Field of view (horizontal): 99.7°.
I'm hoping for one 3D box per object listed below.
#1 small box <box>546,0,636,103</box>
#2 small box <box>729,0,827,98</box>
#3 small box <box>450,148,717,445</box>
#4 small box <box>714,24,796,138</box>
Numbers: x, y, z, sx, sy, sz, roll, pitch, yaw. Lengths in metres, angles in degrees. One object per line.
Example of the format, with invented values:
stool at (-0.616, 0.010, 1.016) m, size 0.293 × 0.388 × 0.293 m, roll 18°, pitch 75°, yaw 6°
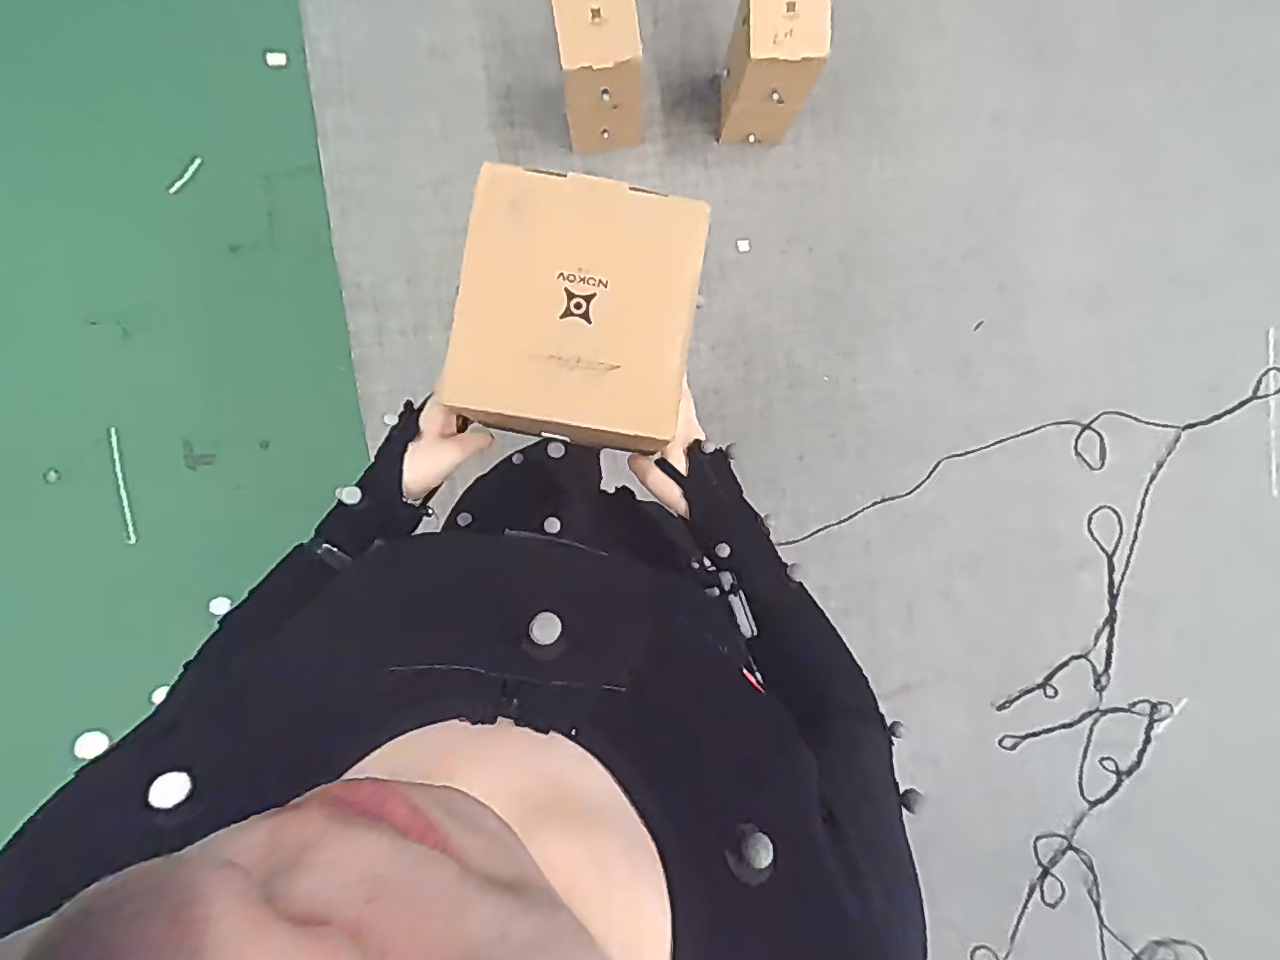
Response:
small box at (-0.100, -0.926, 1.135) m, size 0.168 × 0.176 × 0.179 m, roll -9°, pitch 97°, yaw -1°
small box at (0.286, -0.955, 1.149) m, size 0.168 × 0.176 × 0.179 m, roll -2°, pitch 97°, yaw -2°
small box at (-0.044, -0.132, 0.457) m, size 0.168 × 0.176 × 0.179 m, roll 9°, pitch 90°, yaw -4°
small box at (0.276, -0.970, 1.313) m, size 0.168 × 0.176 × 0.179 m, roll 0°, pitch 97°, yaw -3°
